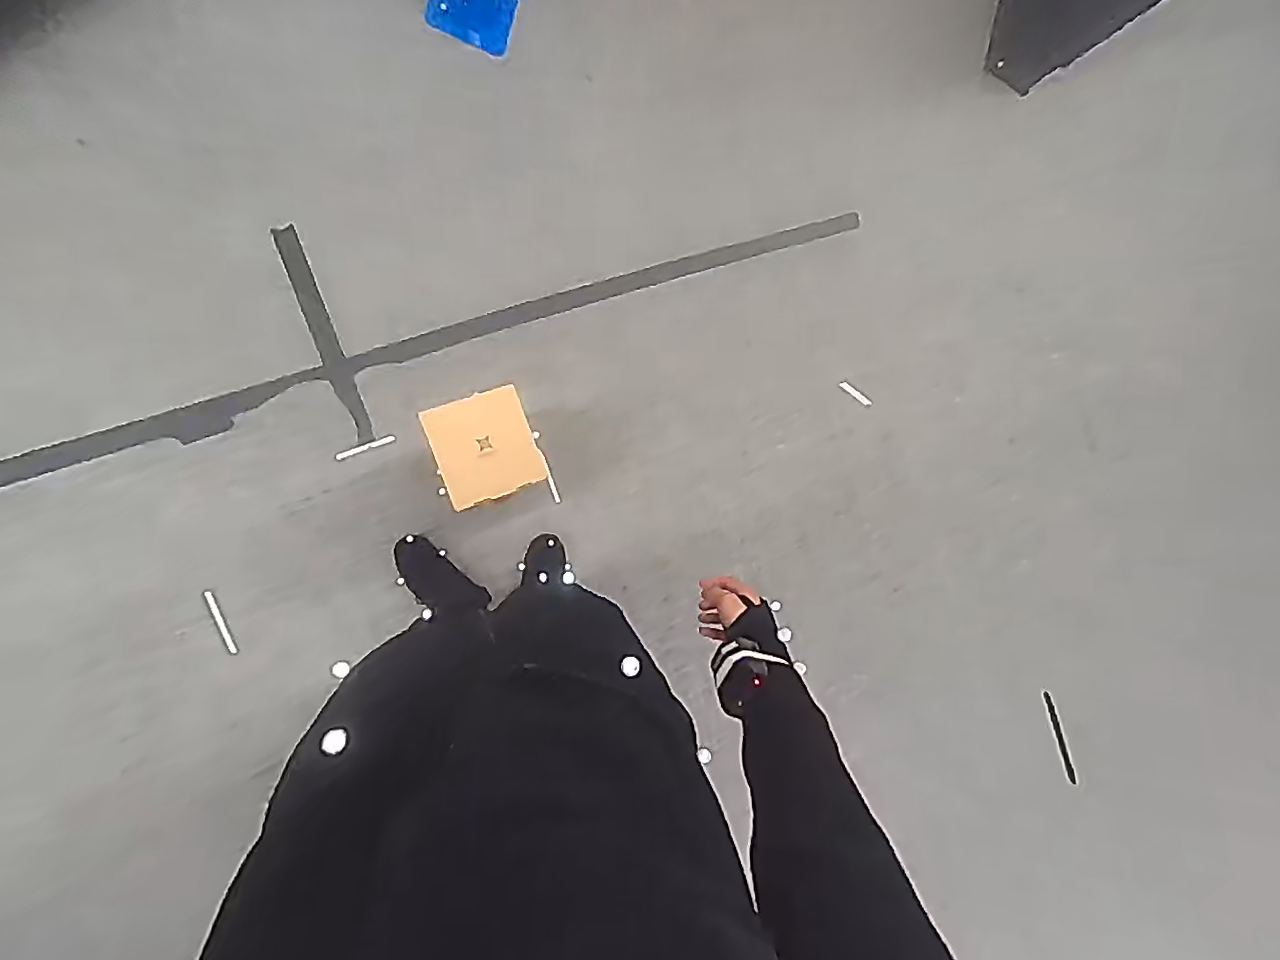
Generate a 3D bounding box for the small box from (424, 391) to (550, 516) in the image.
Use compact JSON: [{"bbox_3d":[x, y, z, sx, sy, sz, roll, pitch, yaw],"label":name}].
[{"bbox_3d":[-0.281,-0.044,0.989,0.168,0.176,0.179,-21,96,-17],"label":"small box"}]
